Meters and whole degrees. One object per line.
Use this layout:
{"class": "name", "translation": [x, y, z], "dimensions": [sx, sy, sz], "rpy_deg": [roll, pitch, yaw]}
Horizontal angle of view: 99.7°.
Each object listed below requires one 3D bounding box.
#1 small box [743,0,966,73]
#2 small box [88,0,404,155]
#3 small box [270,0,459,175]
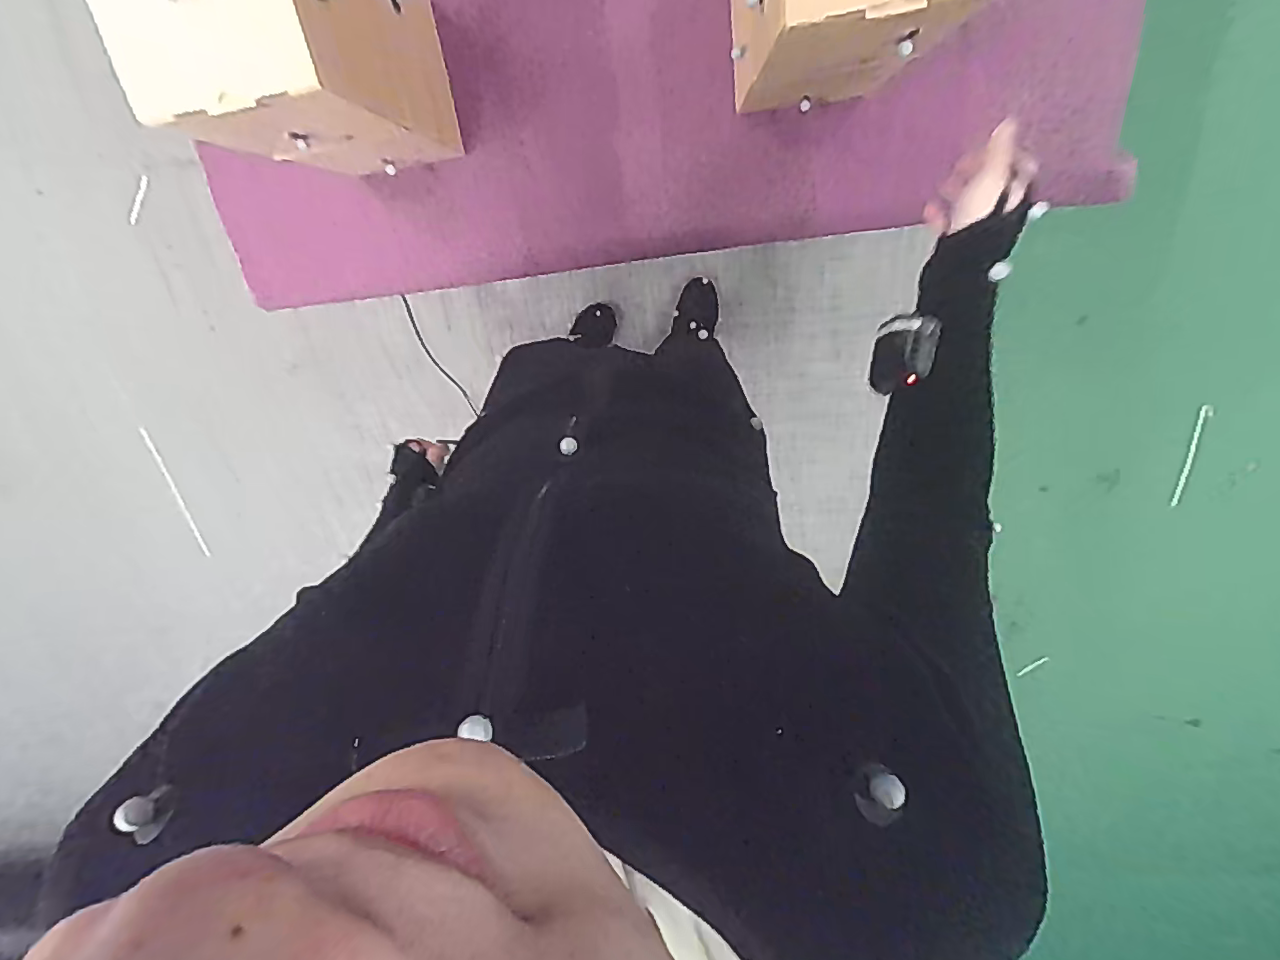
{"class": "small box", "translation": [0.174, -0.457, 0.434], "dimensions": [0.168, 0.176, 0.179], "rpy_deg": [-6, 113, 6]}
{"class": "small box", "translation": [-0.347, -0.418, 0.488], "dimensions": [0.168, 0.176, 0.179], "rpy_deg": [-7, 113, 6]}
{"class": "small box", "translation": [-0.337, -0.480, 0.638], "dimensions": [0.168, 0.176, 0.179], "rpy_deg": [-6, 112, 7]}
